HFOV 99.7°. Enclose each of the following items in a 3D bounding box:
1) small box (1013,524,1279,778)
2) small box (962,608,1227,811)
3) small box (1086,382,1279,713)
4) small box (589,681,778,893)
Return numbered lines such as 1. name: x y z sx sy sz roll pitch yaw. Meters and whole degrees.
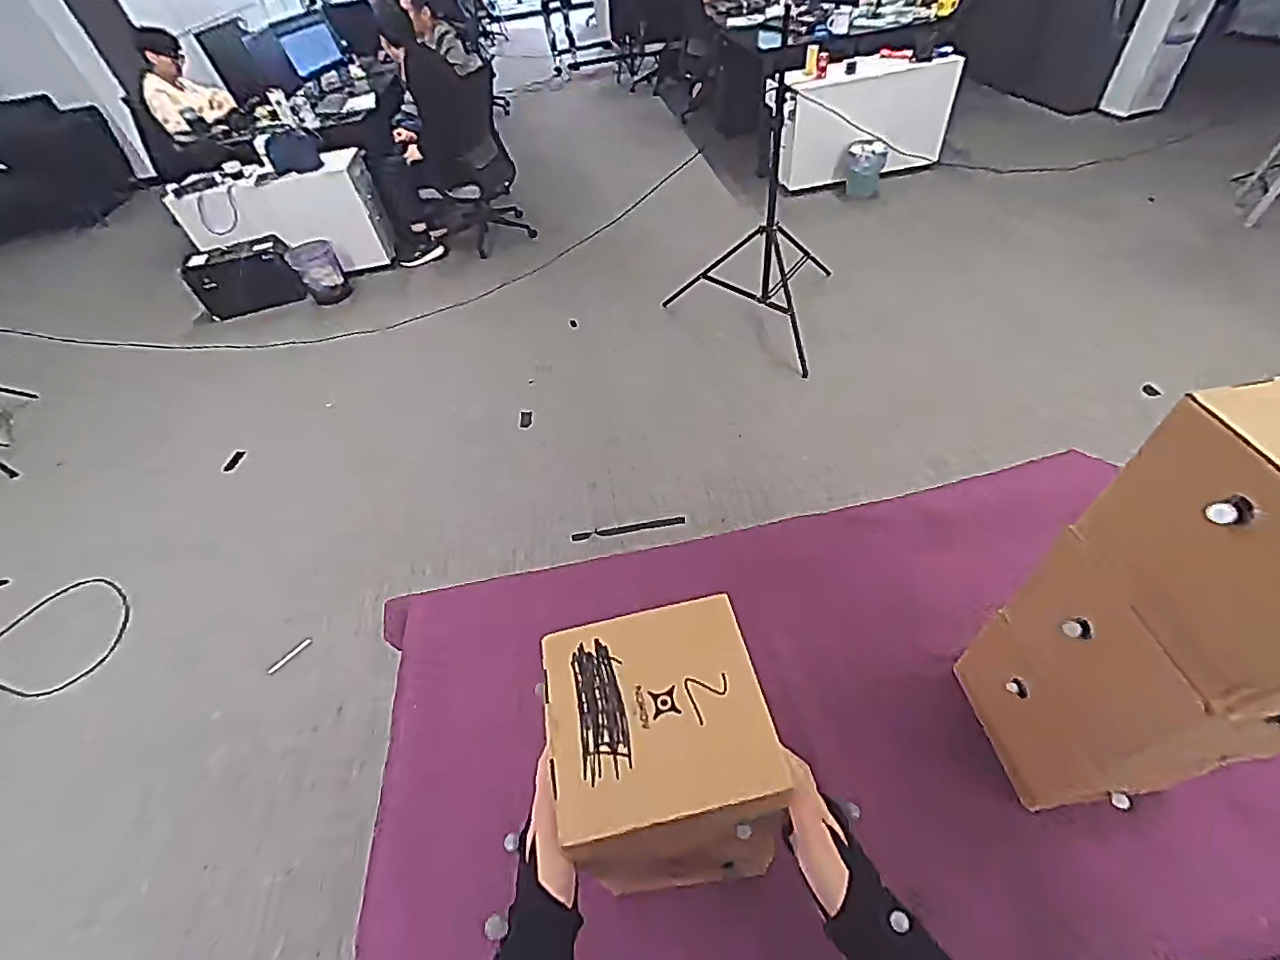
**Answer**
1. small box: 0.494 0.151 0.500 0.168 0.176 0.179 -8 47 2
2. small box: 0.512 0.256 0.624 0.168 0.176 0.179 -9 48 1
3. small box: 0.477 0.046 0.375 0.168 0.176 0.179 -8 47 2
4. small box: 0.044 0.349 0.611 0.179 0.176 0.168 -9 47 1
